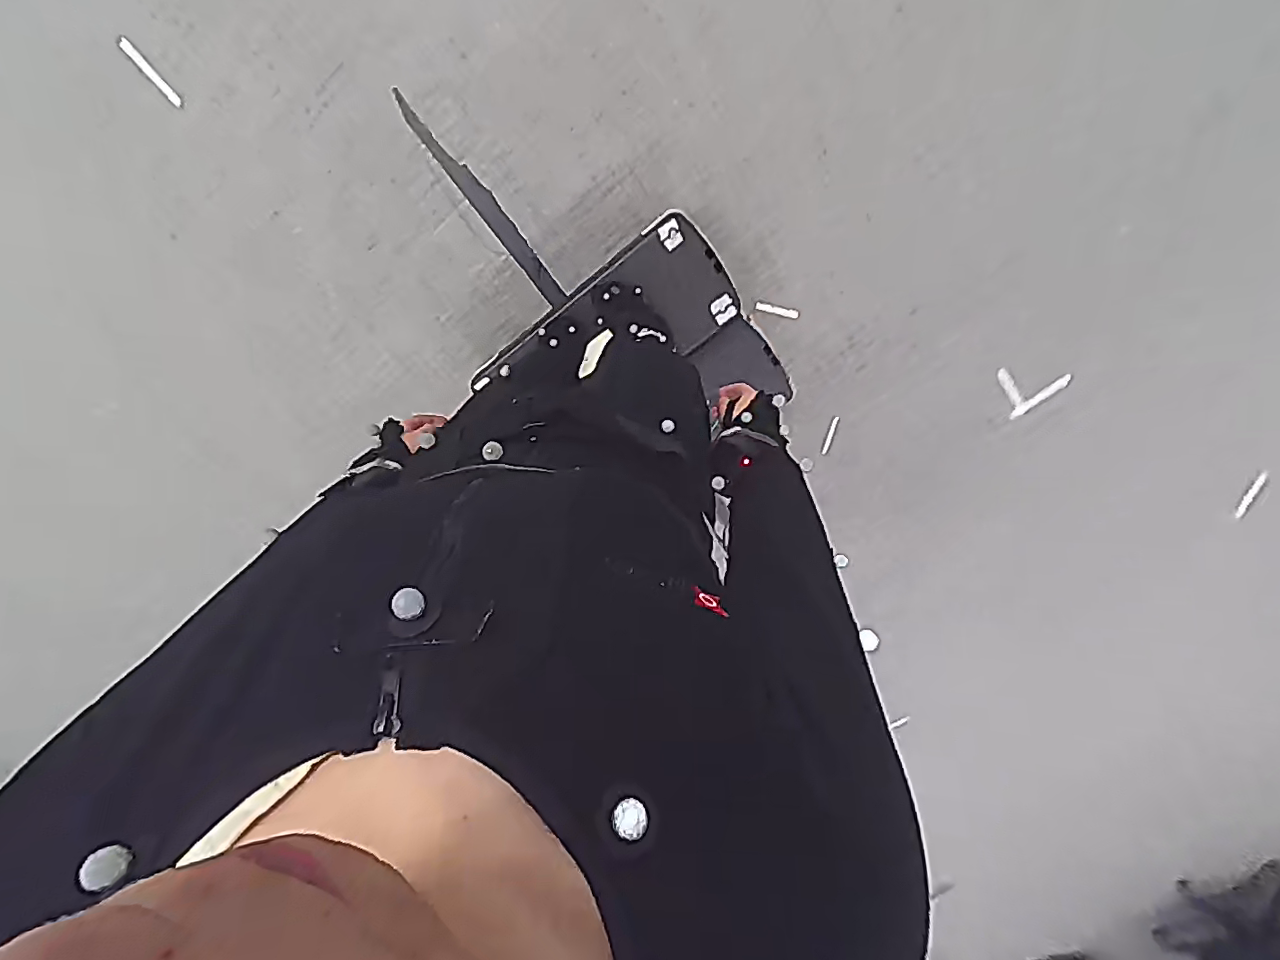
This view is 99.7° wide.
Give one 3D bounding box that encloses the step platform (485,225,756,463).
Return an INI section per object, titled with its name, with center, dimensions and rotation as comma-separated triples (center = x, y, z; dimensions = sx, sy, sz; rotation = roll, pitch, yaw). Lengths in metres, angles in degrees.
[step platform]
center = -0.055, -0.331, 1.372
dimensions = 0.684, 0.204, 0.286
rotation = -32, 109, 11
